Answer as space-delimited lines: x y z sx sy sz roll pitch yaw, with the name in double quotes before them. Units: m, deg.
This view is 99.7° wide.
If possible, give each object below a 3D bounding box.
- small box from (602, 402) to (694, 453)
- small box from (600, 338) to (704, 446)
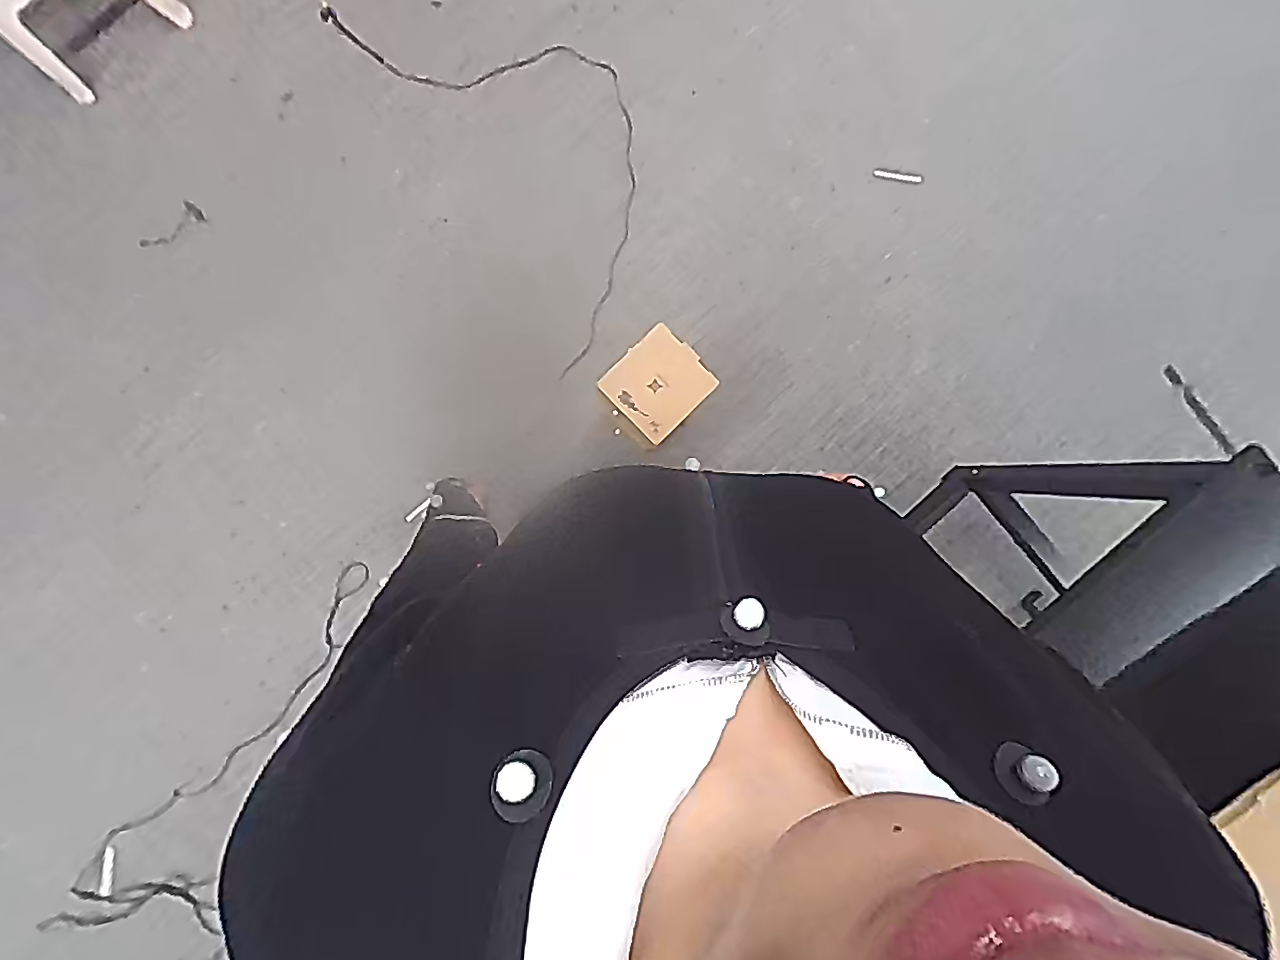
"small box" 0.016 -0.189 1.427 0.179 0.176 0.168 -44 91 -1
"small box" 0.025 -0.195 1.266 0.168 0.176 0.179 43 87 -2
